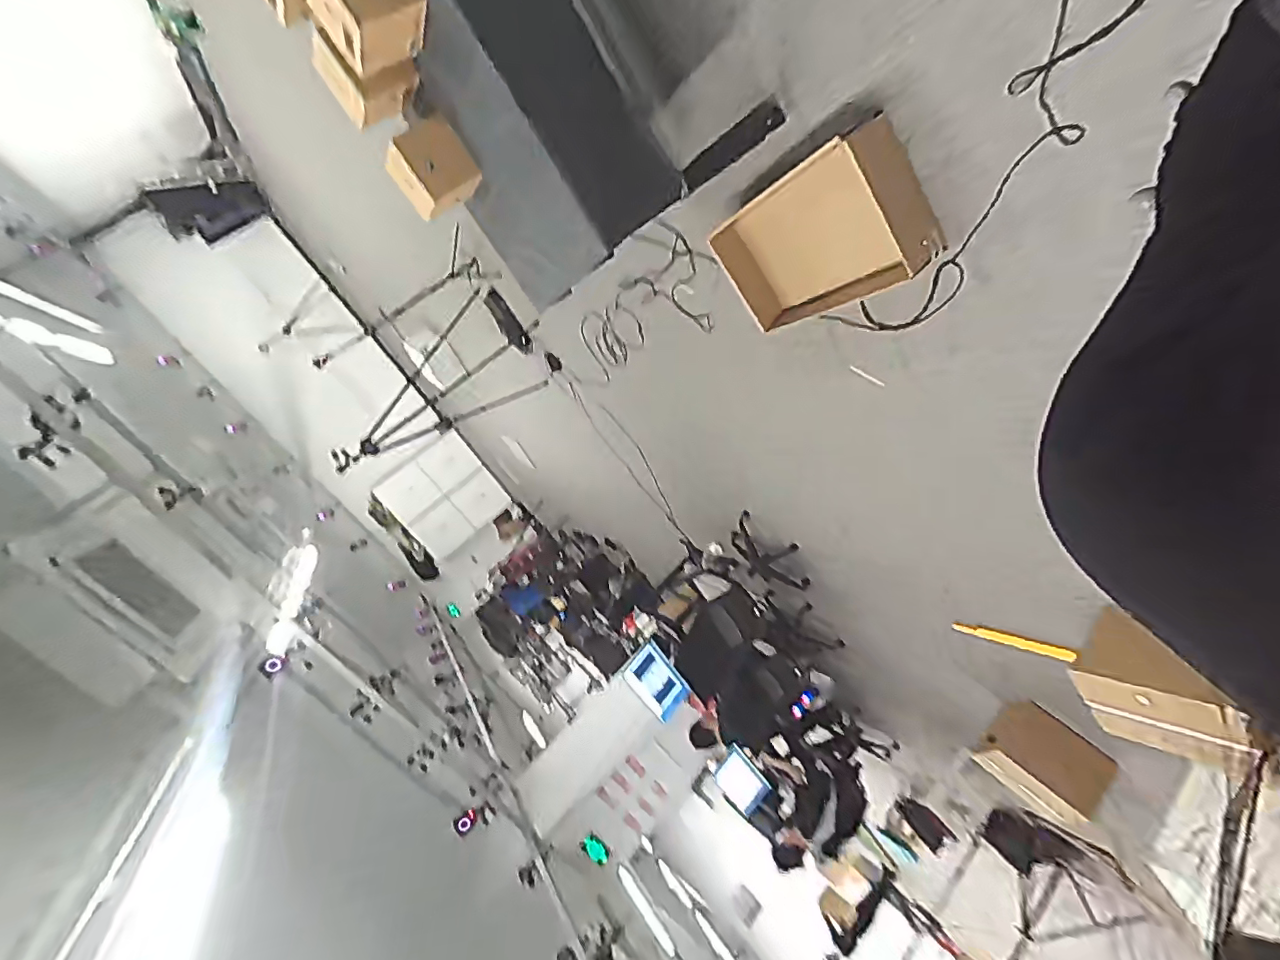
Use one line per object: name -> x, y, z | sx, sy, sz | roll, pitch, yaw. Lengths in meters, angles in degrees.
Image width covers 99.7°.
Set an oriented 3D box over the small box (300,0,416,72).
small box -> -0.607, -1.041, 1.158 | 0.179, 0.176, 0.168 | 54, 159, -18
